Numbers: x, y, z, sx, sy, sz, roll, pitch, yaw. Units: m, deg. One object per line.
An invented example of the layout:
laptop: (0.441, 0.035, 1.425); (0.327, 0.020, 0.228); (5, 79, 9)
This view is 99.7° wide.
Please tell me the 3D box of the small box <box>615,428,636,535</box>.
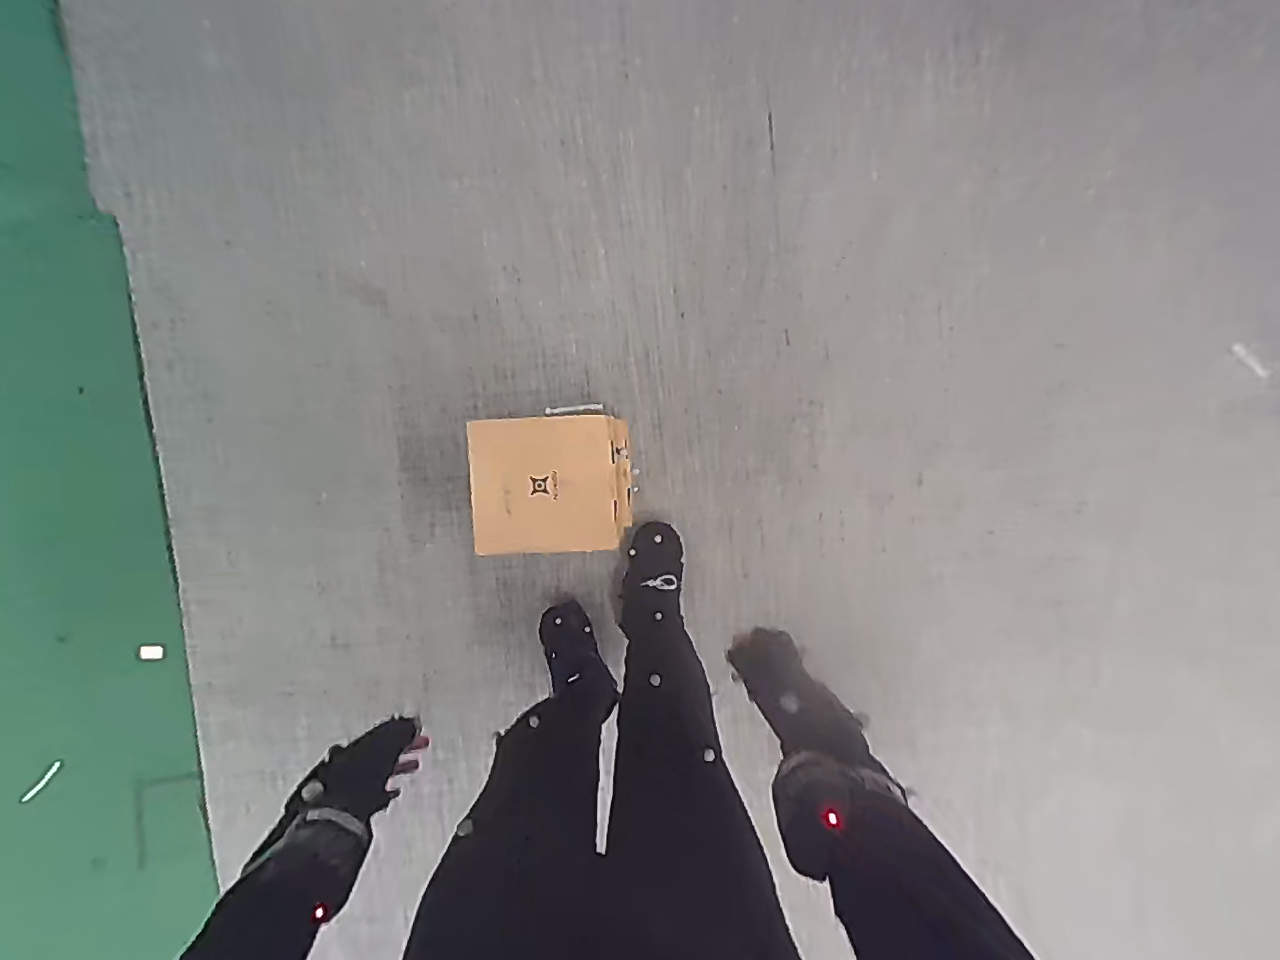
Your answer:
small box: (-0.098, -0.001, 0.895); (0.179, 0.176, 0.168); (-3, 93, 0)

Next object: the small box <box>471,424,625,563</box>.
small box: (-0.112, 0.012, 0.733); (0.179, 0.176, 0.168); (-4, 92, 2)
